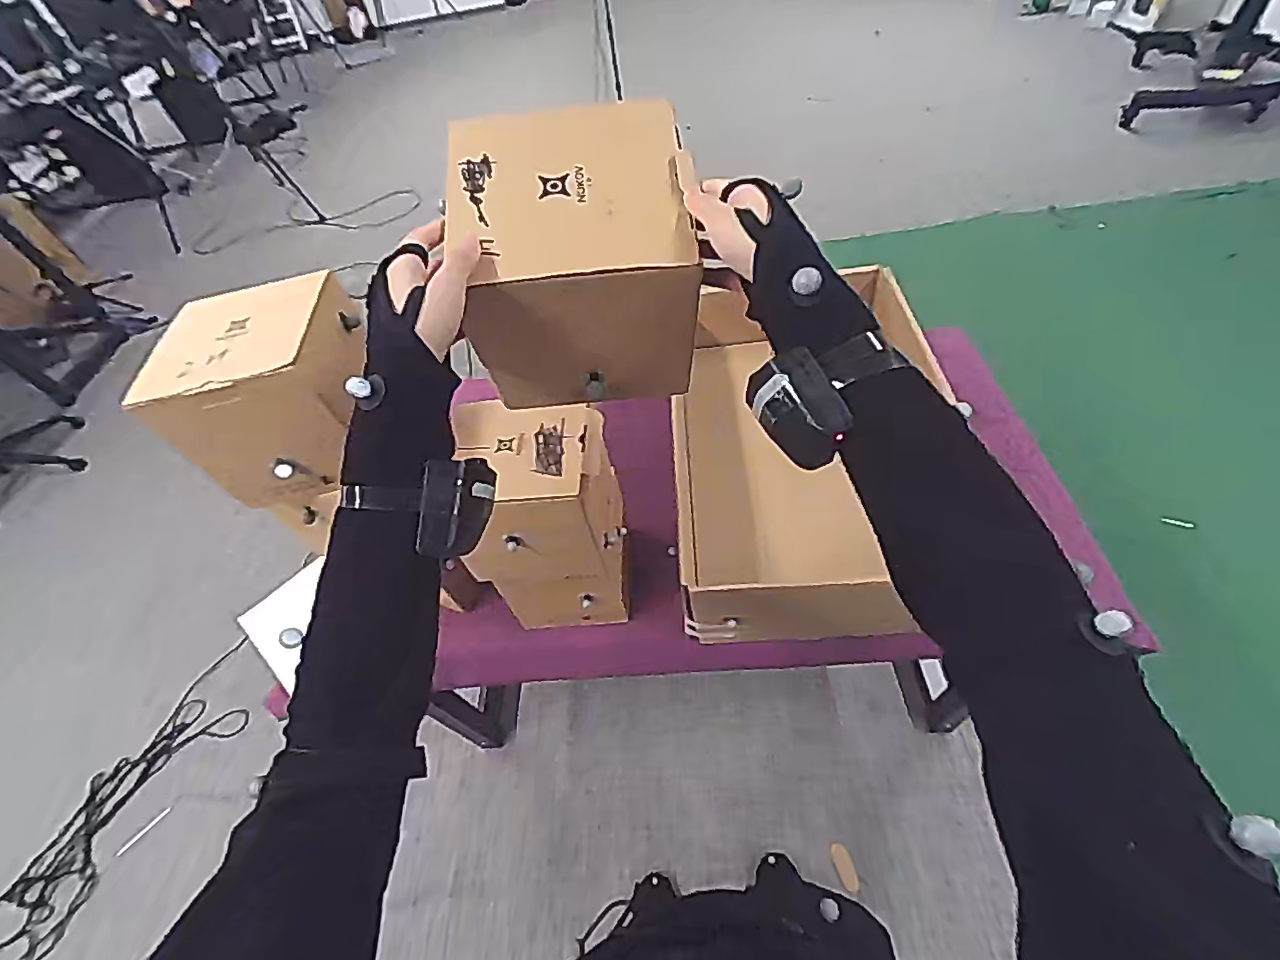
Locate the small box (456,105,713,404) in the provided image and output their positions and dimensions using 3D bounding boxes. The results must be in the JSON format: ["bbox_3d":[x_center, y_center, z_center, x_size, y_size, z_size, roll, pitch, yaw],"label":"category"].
[{"bbox_3d":[-0.042,-0.180,0.464,0.179,0.176,0.168,-5,68,-1],"label":"small box"}]

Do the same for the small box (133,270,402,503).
[{"bbox_3d":[-0.391,-0.102,0.612,0.168,0.176,0.179,-13,52,1],"label":"small box"}]

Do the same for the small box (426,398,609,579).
[{"bbox_3d":[-0.136,0.012,0.685,0.179,0.176,0.168,-5,50,5],"label":"small box"}]
